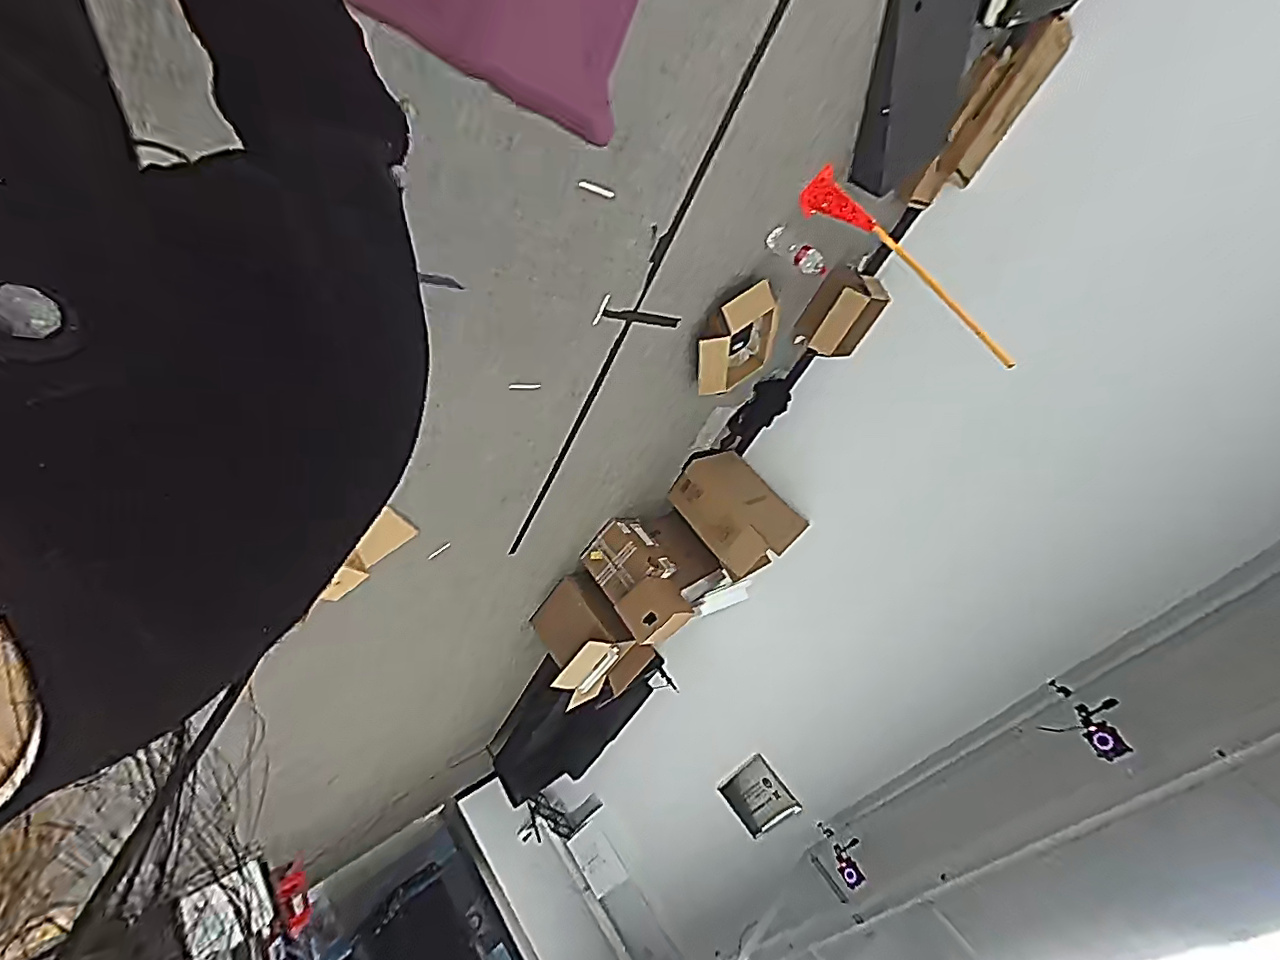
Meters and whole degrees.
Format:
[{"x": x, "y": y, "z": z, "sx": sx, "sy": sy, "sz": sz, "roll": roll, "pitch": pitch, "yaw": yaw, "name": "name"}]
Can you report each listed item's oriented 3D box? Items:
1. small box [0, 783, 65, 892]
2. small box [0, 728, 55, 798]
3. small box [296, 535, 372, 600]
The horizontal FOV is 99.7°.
[{"x": -1.586, "y": 0.905, "z": 1.362, "sx": 0.168, "sy": 0.176, "sz": 0.179, "roll": -9, "pitch": 138, "yaw": -50, "name": "small box"}, {"x": -1.681, "y": 0.787, "z": 1.425, "sx": 0.168, "sy": 0.176, "sz": 0.179, "roll": -6, "pitch": 138, "yaw": -53, "name": "small box"}, {"x": -1.200, "y": 0.340, "z": 2.122, "sx": 0.168, "sy": 0.176, "sz": 0.179, "roll": -39, "pitch": 154, "yaw": -6, "name": "small box"}]
